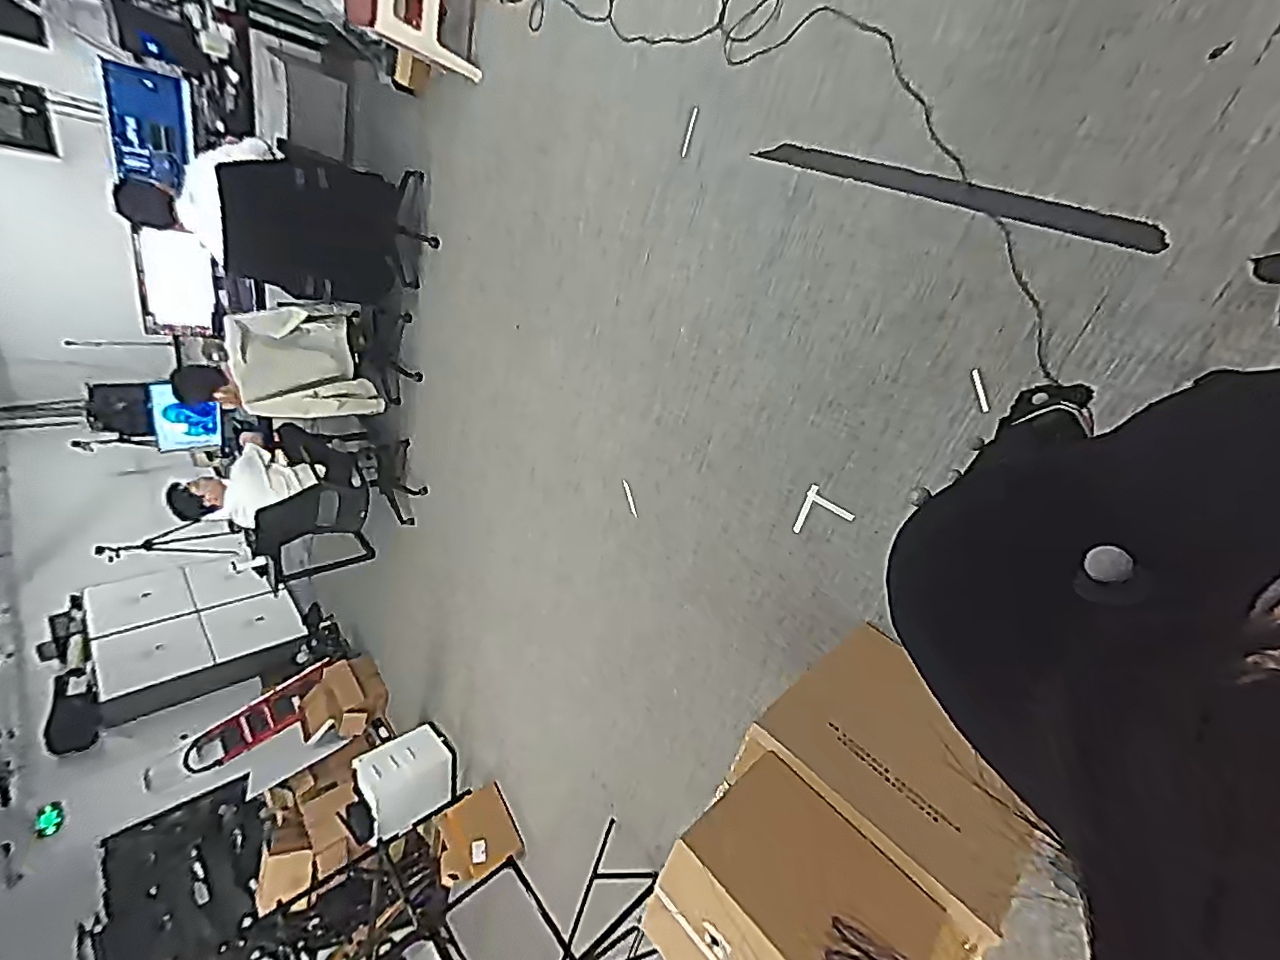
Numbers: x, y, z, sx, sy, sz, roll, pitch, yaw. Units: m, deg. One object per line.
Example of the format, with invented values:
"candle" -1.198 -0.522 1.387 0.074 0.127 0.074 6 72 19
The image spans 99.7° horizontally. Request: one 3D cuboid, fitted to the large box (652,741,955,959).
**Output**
"large box" 0.294 0.810 1.032 0.408 0.320 0.320 35 122 35
